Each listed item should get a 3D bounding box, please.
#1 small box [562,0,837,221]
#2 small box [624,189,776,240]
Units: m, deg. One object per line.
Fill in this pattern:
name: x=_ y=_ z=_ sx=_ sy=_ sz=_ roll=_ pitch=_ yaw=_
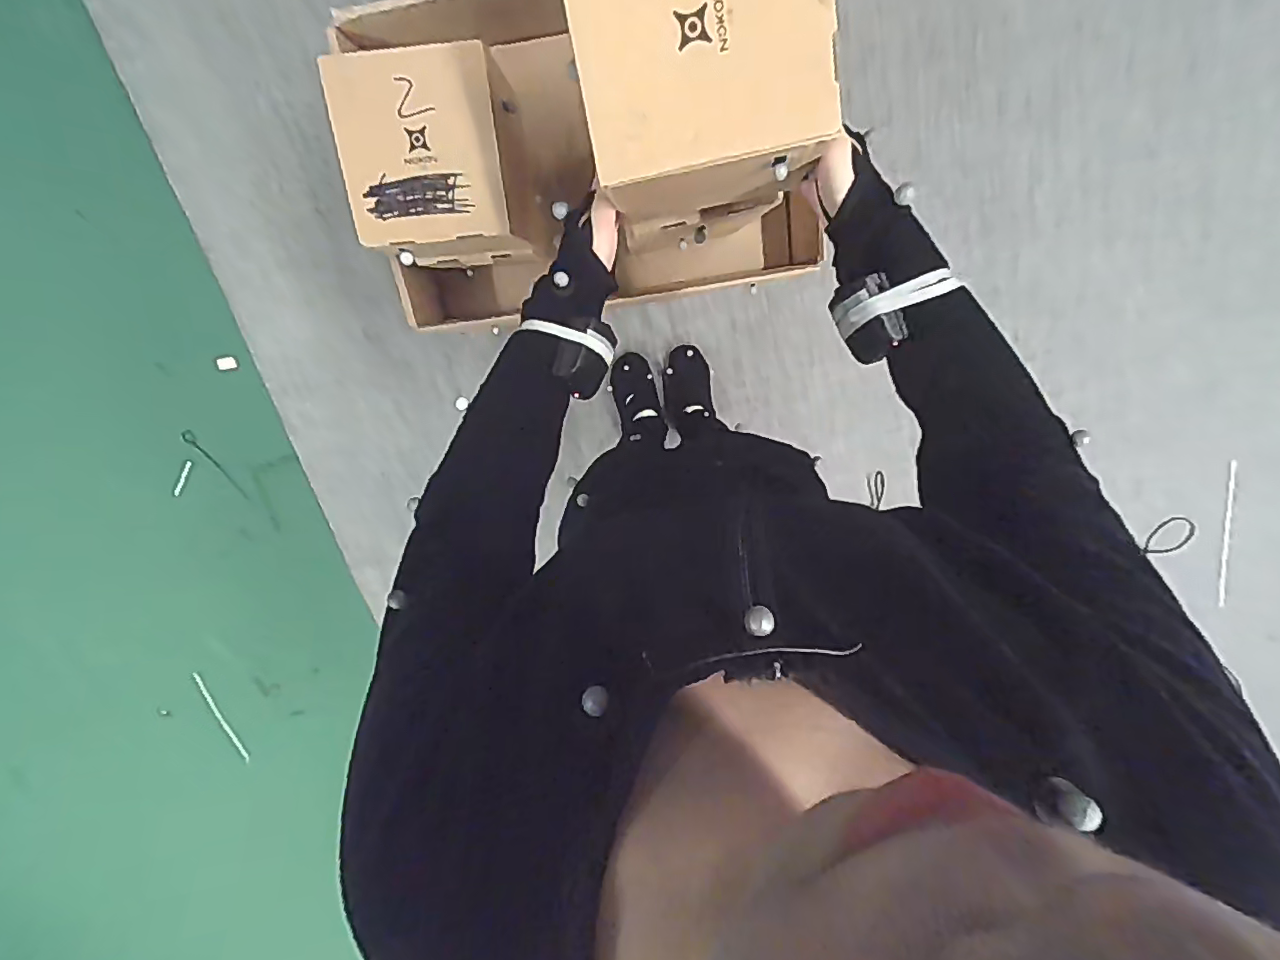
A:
small box: x=0.044 y=-0.327 z=0.442 sx=0.179 sy=0.176 sz=0.168 roll=-10 pitch=106 yaw=5
small box: x=0.051 y=-0.384 z=0.623 sx=0.168 sy=0.176 sz=0.179 roll=-11 pitch=110 yaw=4
